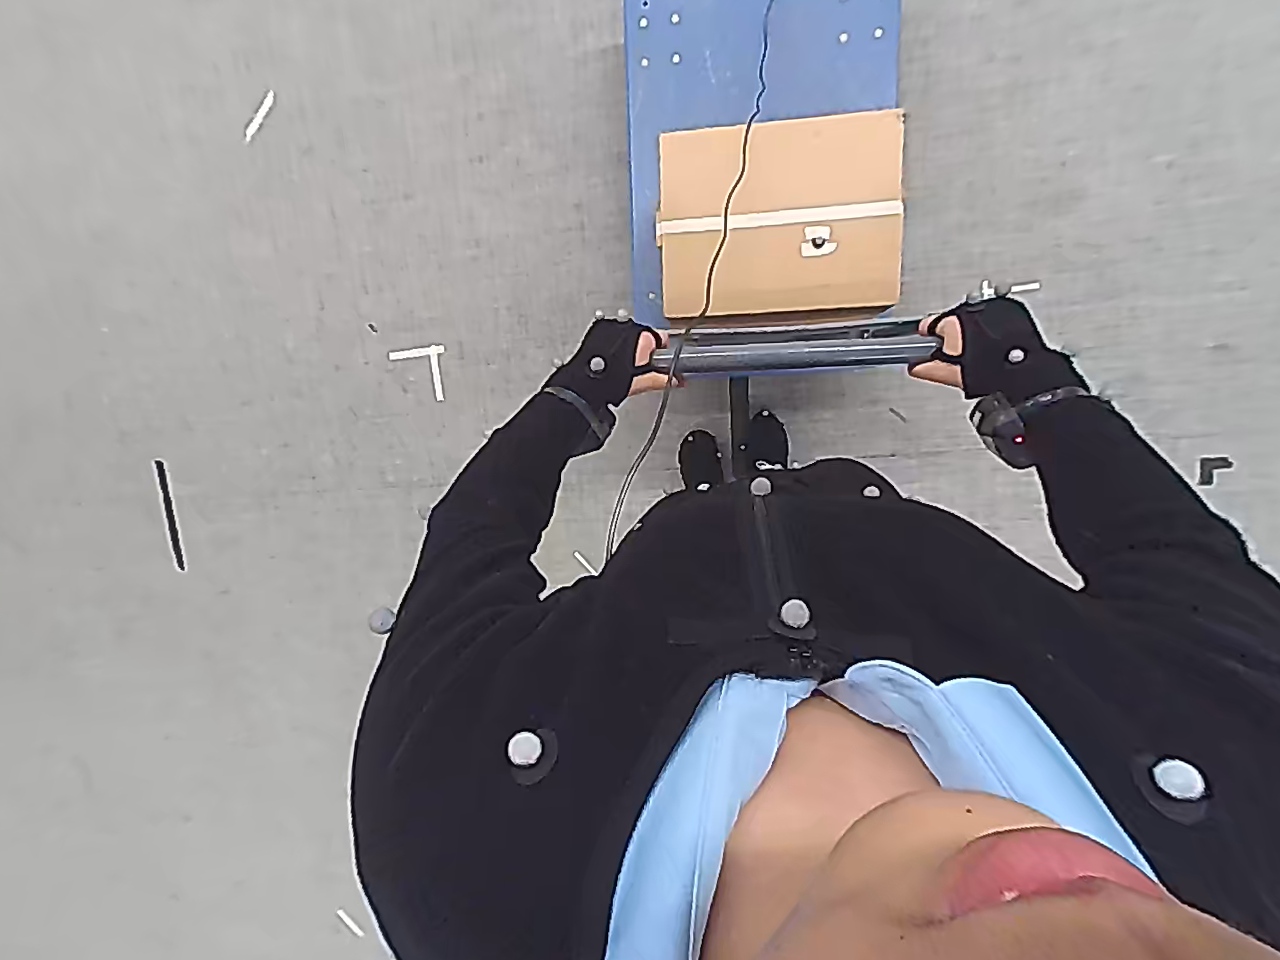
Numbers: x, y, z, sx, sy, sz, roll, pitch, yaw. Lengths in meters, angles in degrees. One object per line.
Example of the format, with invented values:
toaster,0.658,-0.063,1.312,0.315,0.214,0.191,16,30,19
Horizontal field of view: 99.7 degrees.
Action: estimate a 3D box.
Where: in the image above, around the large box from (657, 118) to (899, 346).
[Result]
large box,0.251,-0.452,1.073,0.408,0.320,0.320,-1,98,8
